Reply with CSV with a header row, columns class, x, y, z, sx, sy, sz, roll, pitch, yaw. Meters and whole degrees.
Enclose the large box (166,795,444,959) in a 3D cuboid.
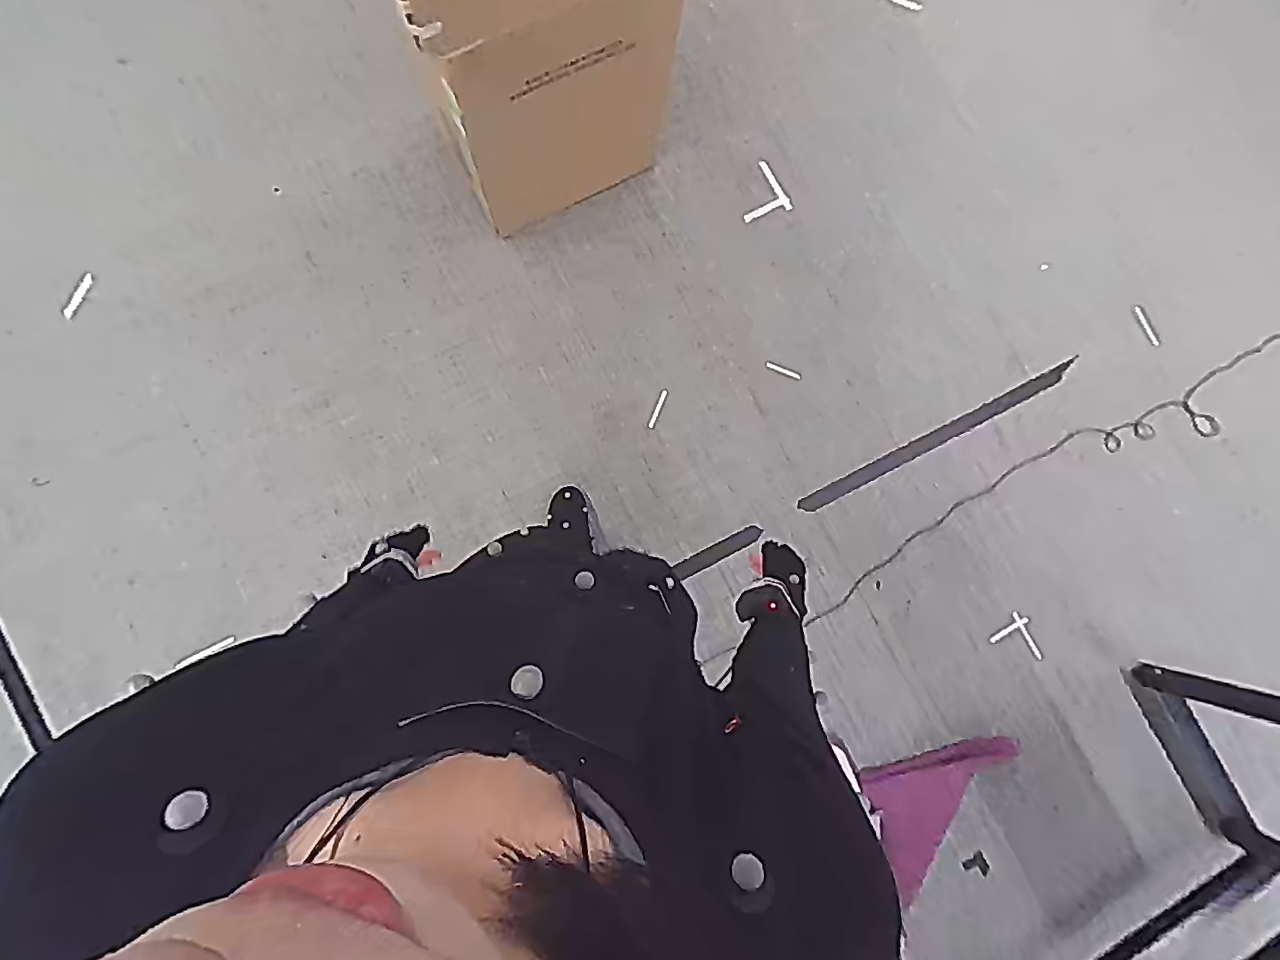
class,x,y,z,sx,sy,sz,roll,pitch,yaw
large box,-0.715,1.038,1.225,0.320,0.320,0.408,-32,88,-8
